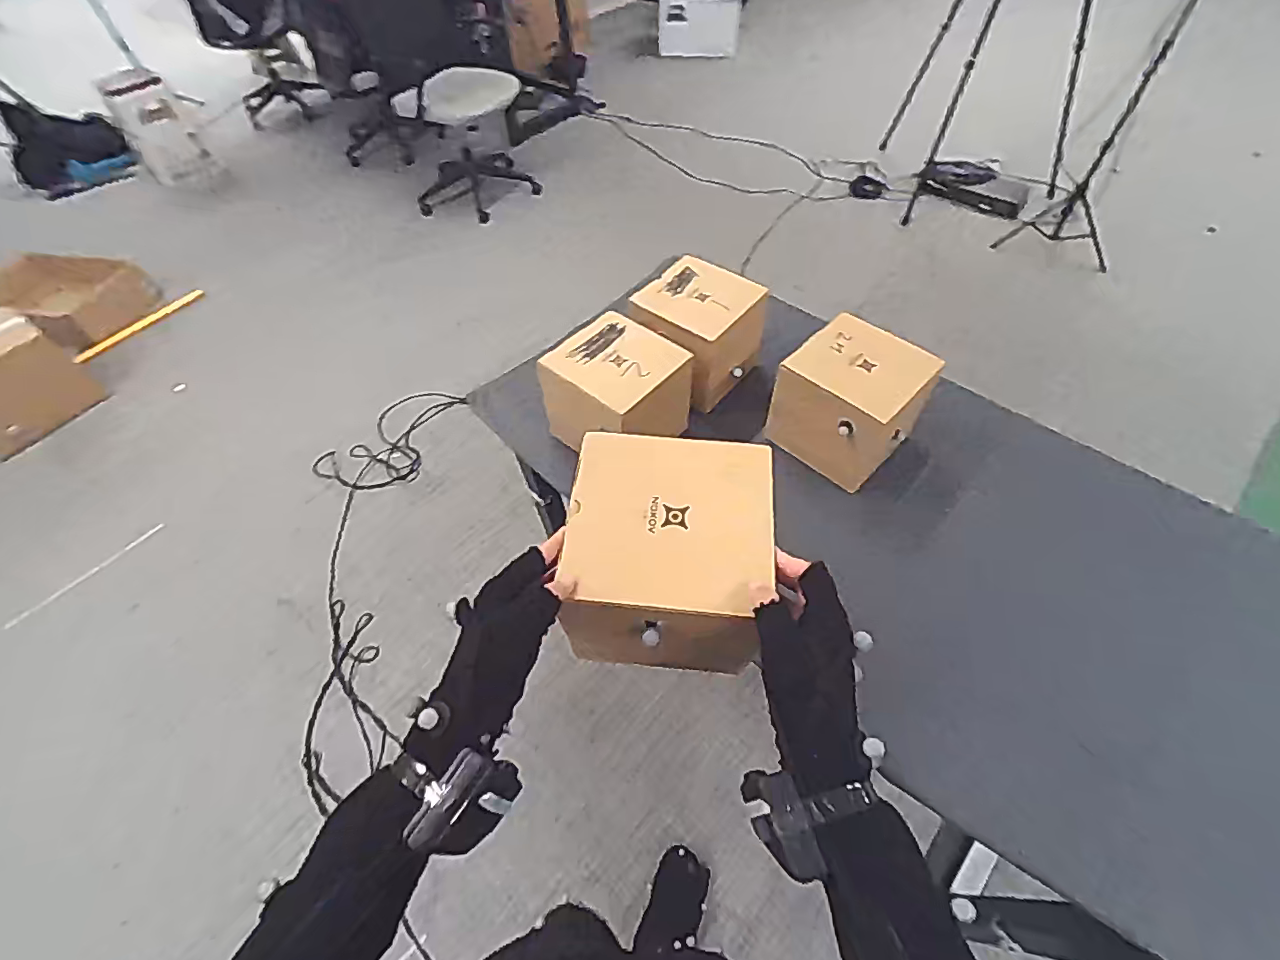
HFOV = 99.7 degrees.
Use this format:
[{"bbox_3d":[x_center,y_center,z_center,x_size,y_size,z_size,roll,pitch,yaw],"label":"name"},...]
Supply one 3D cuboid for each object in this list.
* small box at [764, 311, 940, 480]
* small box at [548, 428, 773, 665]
[{"bbox_3d":[0.319,-0.124,0.848,0.168,0.176,0.179,-39,61,-22],"label":"small box"},{"bbox_3d":[0.026,0.072,0.524,0.179,0.176,0.168,5,57,5],"label":"small box"}]
